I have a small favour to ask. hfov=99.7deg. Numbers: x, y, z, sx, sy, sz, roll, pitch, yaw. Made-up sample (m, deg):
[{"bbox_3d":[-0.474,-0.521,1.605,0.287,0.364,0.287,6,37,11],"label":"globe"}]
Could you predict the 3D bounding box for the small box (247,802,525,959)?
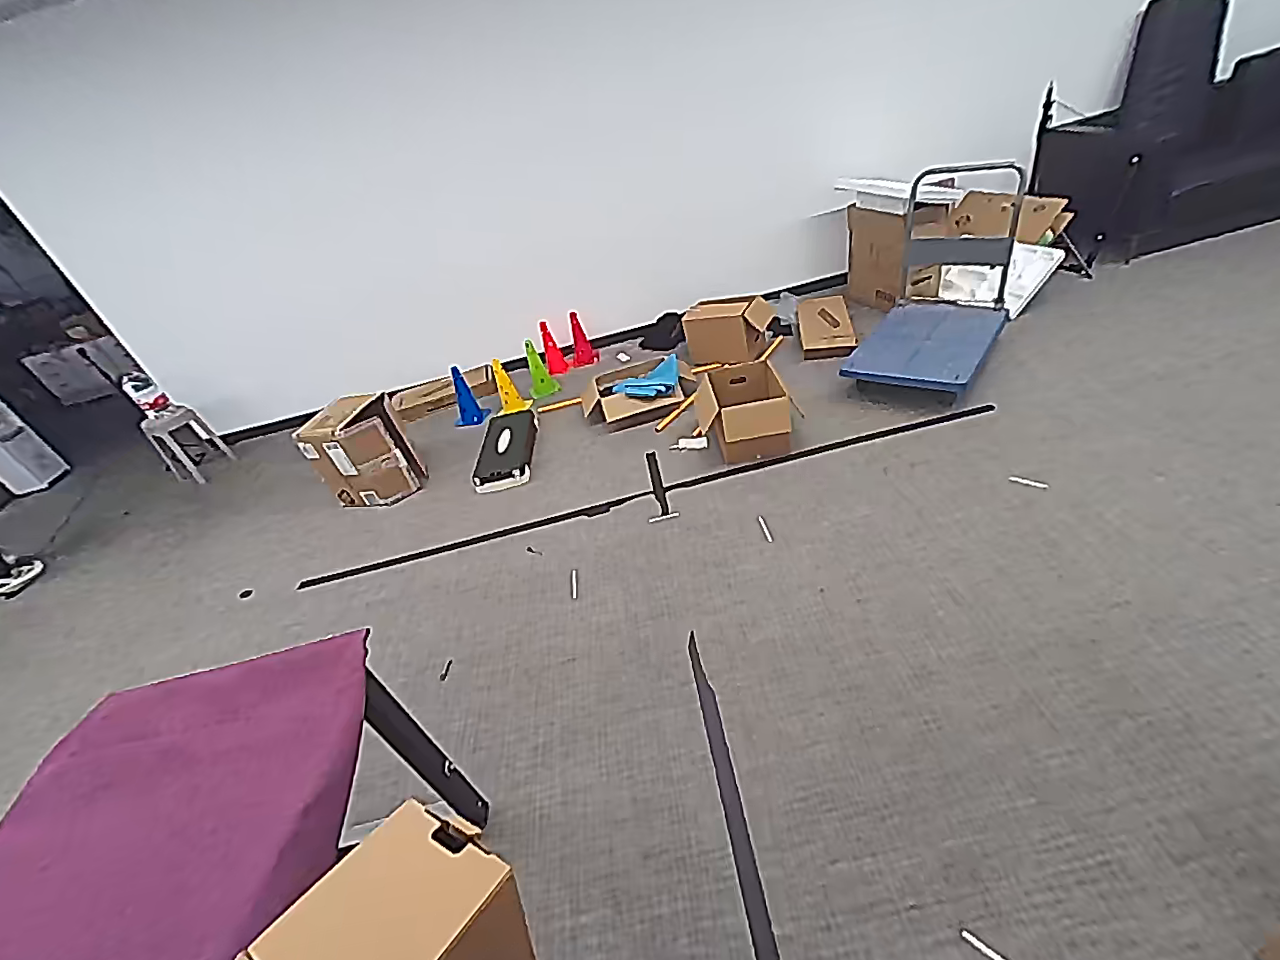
[{"bbox_3d":[-0.231,0.477,0.531,0.168,0.176,0.179,8,24,32],"label":"small box"}]
